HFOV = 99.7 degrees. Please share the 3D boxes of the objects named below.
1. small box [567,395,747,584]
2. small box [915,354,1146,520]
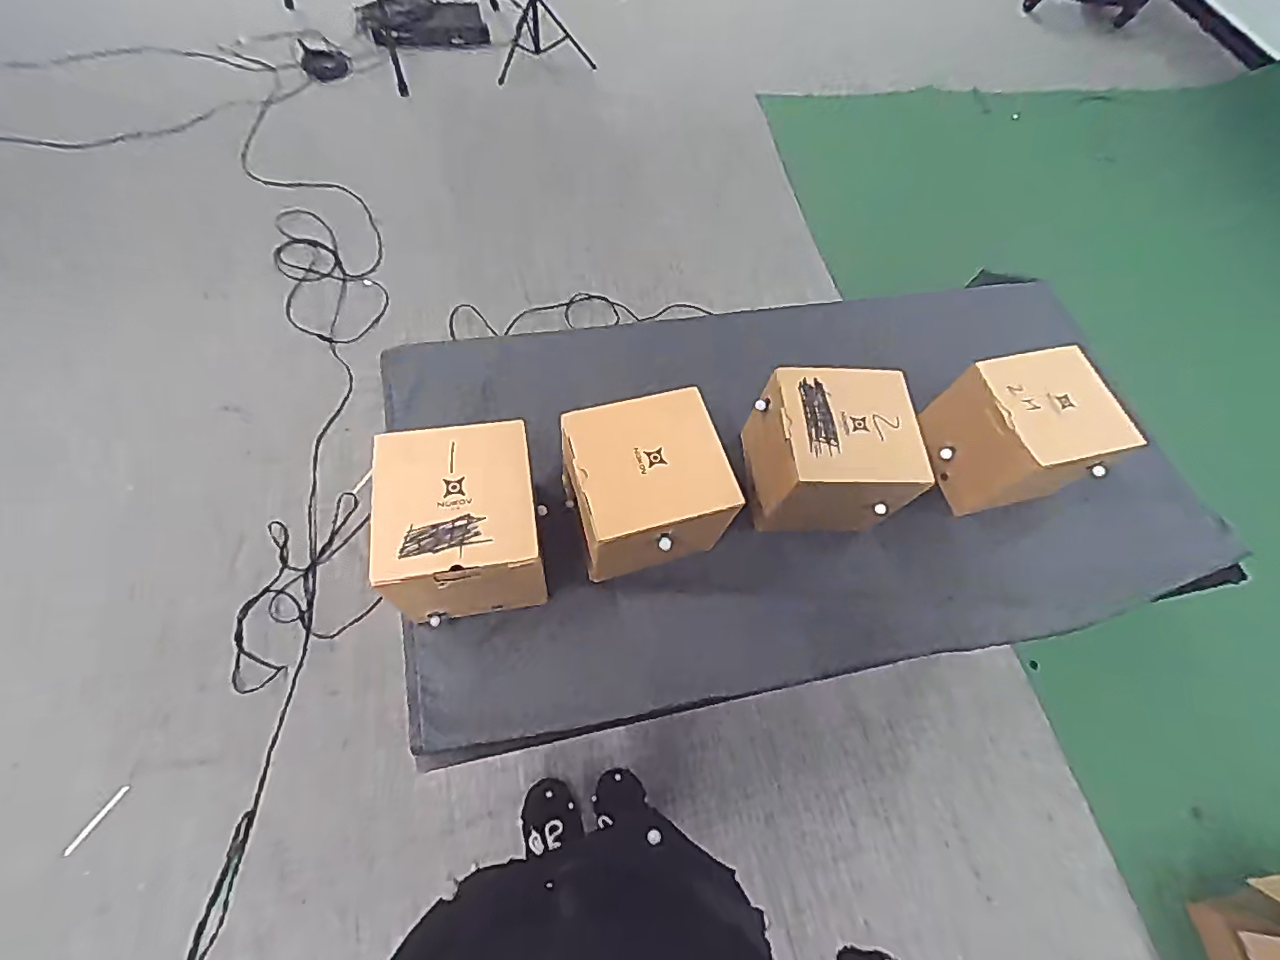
[{"bbox_3d":[0.009,0.018,0.695,0.179,0.176,0.168,-14,67,-12],"label":"small box"},{"bbox_3d":[0.548,-0.057,0.788,0.179,0.176,0.168,-11,65,-11],"label":"small box"}]
